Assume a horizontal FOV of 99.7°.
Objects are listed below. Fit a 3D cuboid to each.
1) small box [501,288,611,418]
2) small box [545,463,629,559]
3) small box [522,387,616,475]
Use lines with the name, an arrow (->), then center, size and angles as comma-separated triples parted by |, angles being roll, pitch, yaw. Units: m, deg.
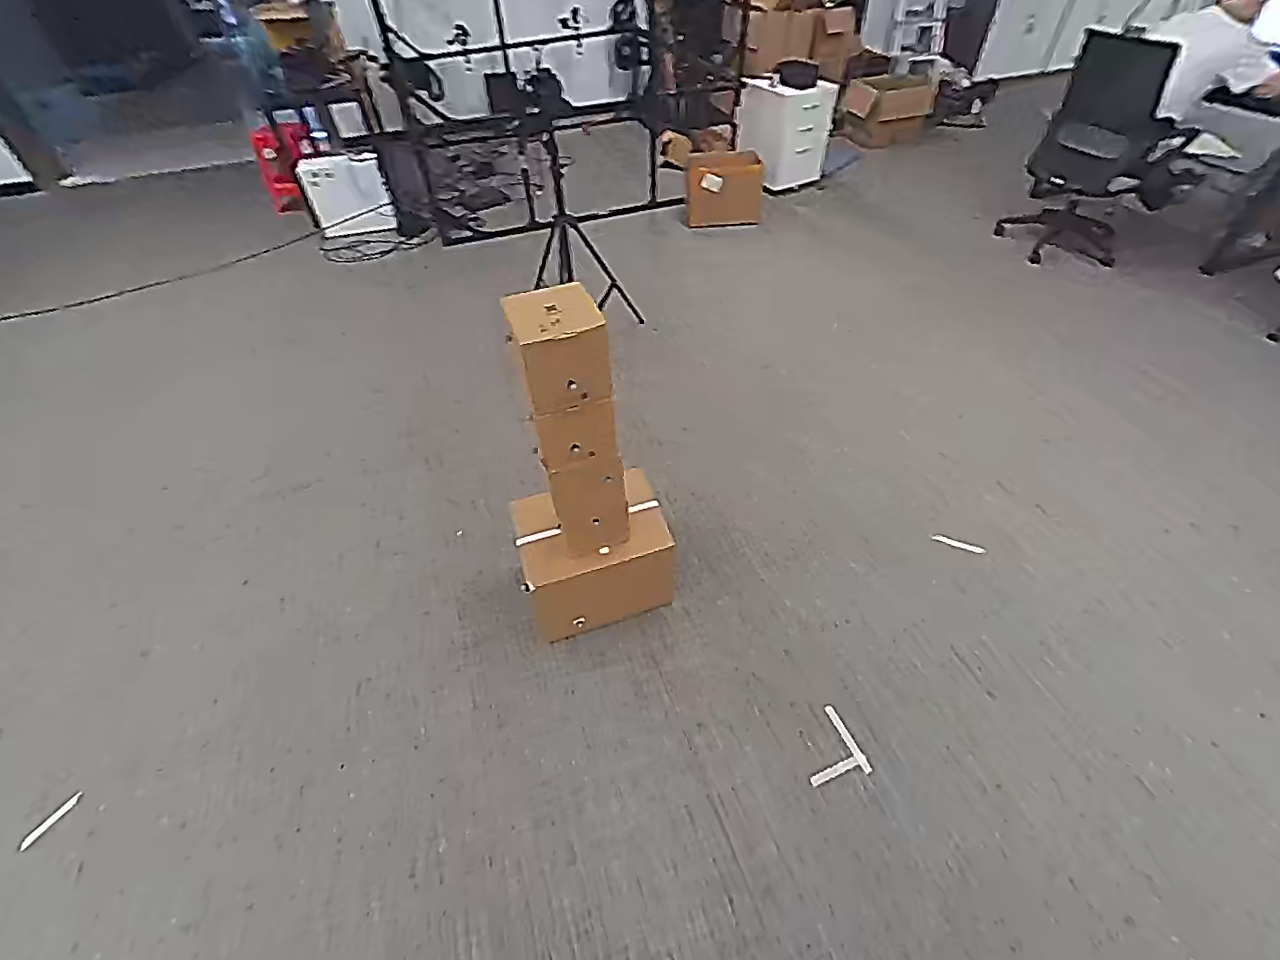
small box -> -0.165, -0.253, 1.078 | 0.168, 0.176, 0.179 | -18, 51, -13
small box -> -0.137, 0.085, 1.435 | 0.179, 0.176, 0.168 | -16, 50, -14
small box -> -0.159, -0.140, 1.198 | 0.168, 0.176, 0.179 | -17, 50, -13
